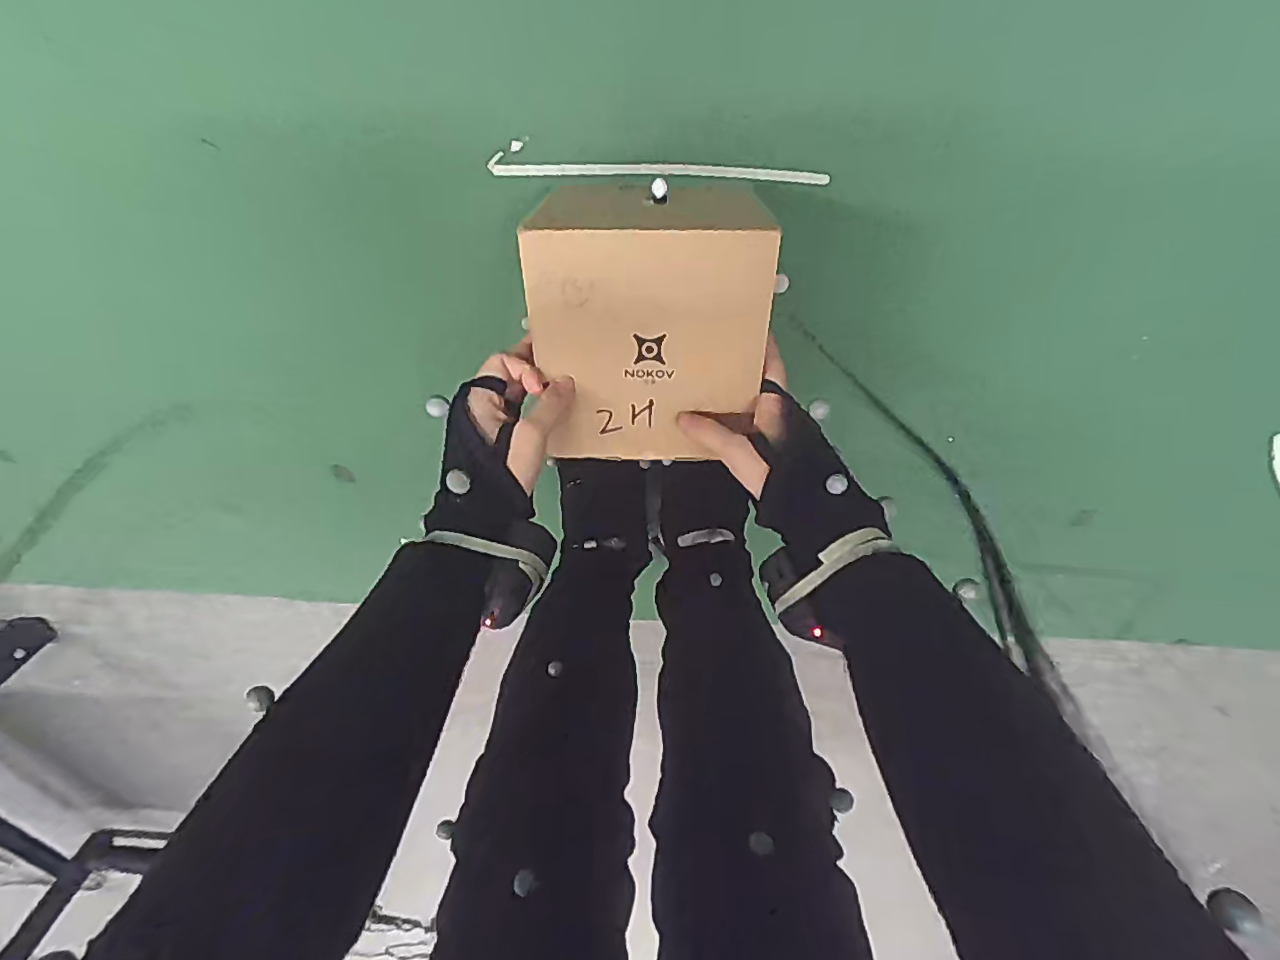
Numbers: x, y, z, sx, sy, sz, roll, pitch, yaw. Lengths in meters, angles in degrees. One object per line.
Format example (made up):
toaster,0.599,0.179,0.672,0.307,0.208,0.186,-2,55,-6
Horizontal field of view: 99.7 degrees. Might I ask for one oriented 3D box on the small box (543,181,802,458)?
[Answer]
small box,0.019,-0.138,0.446,0.168,0.176,0.179,2,127,1
